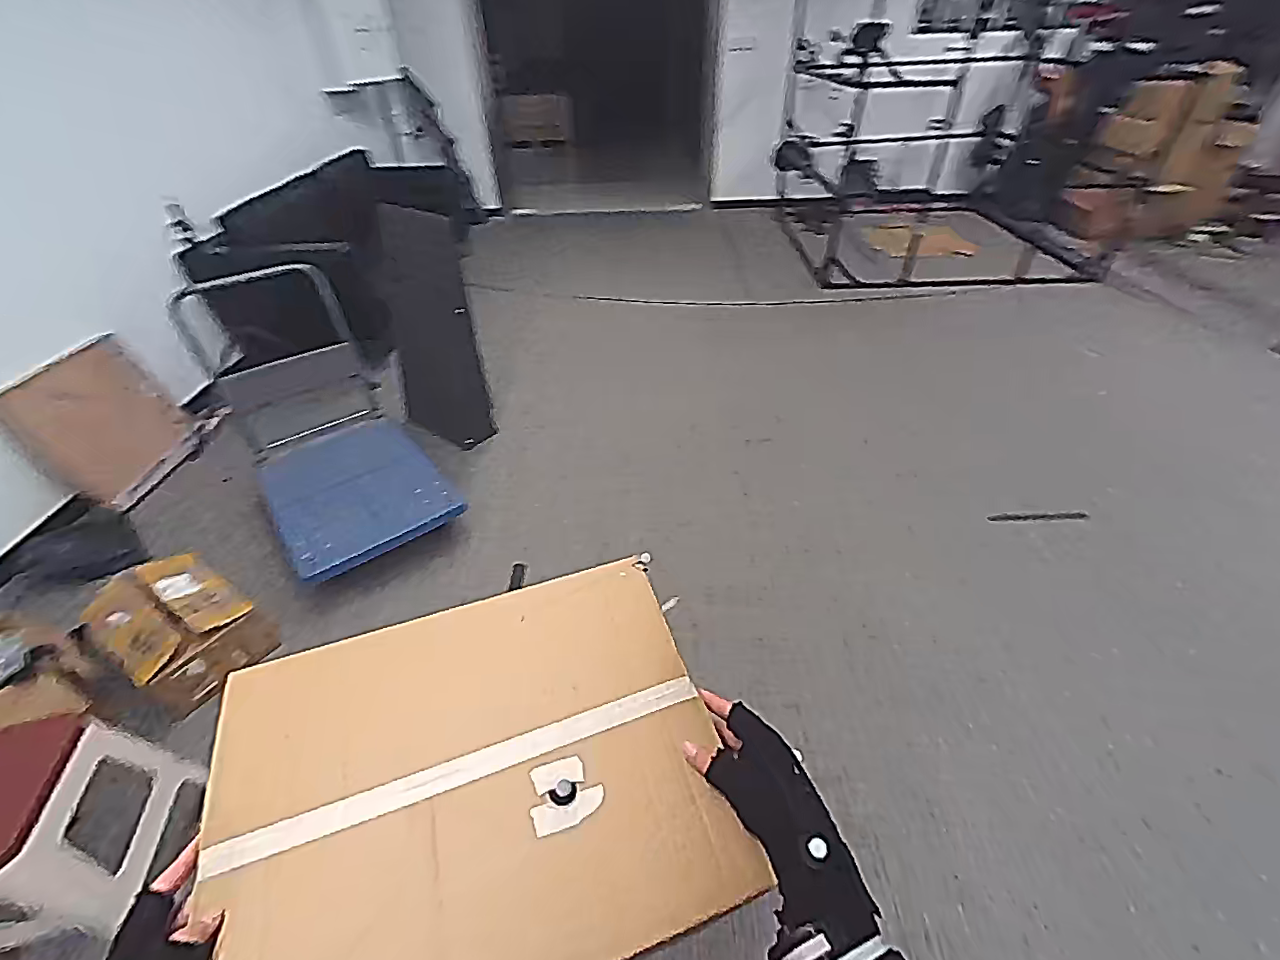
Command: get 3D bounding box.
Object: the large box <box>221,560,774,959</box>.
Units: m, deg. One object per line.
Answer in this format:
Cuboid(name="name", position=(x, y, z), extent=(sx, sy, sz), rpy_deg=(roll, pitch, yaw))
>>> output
Cuboid(name="large box", position=(-0.132, 0.342, 0.577), extent=(0.408, 0.320, 0.320), rpy_deg=(-13, 50, -13))
